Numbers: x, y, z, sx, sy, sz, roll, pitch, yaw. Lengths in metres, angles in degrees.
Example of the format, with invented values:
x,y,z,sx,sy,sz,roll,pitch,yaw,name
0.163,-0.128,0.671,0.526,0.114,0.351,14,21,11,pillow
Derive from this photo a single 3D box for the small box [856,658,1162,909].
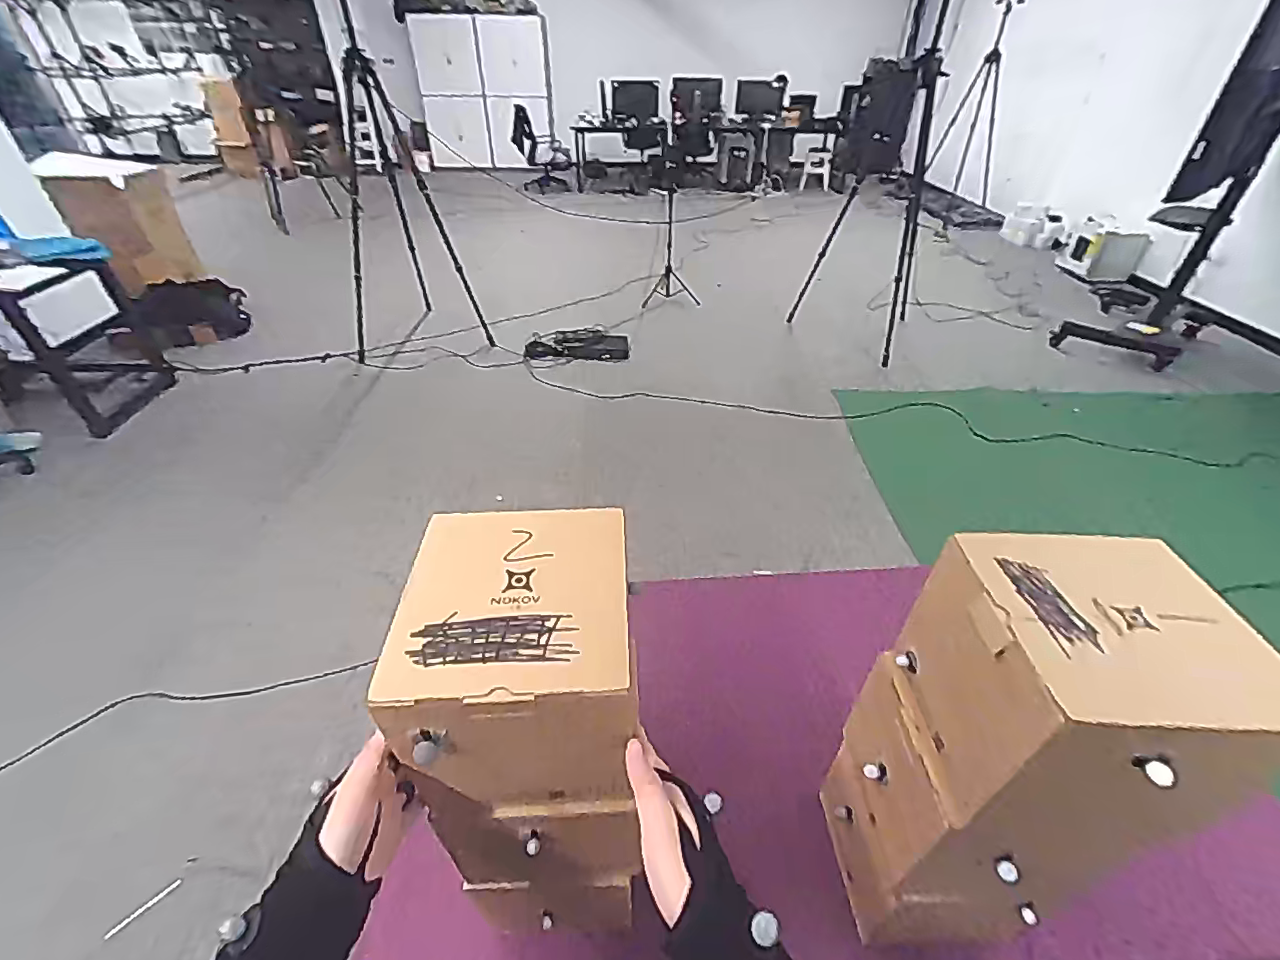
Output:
x,y,z,sx,sy,sz,roll,pitch,yaw,name
0.327,0.295,0.530,0.179,0.176,0.168,1,38,1,small box

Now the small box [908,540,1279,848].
x,y,z,sx,sy,sz,roll,pitch,yaw,name
0.337,0.166,0.427,0.179,0.176,0.168,2,38,0,small box

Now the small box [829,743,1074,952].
x,y,z,sx,sy,sz,roll,pitch,yaw,name
0.334,0.425,0.631,0.179,0.176,0.168,-1,38,-2,small box

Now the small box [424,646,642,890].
x,y,z,sx,sy,sz,roll,pitch,yaw,name
-0.088,0.286,0.539,0.179,0.176,0.168,-1,39,-2,small box
